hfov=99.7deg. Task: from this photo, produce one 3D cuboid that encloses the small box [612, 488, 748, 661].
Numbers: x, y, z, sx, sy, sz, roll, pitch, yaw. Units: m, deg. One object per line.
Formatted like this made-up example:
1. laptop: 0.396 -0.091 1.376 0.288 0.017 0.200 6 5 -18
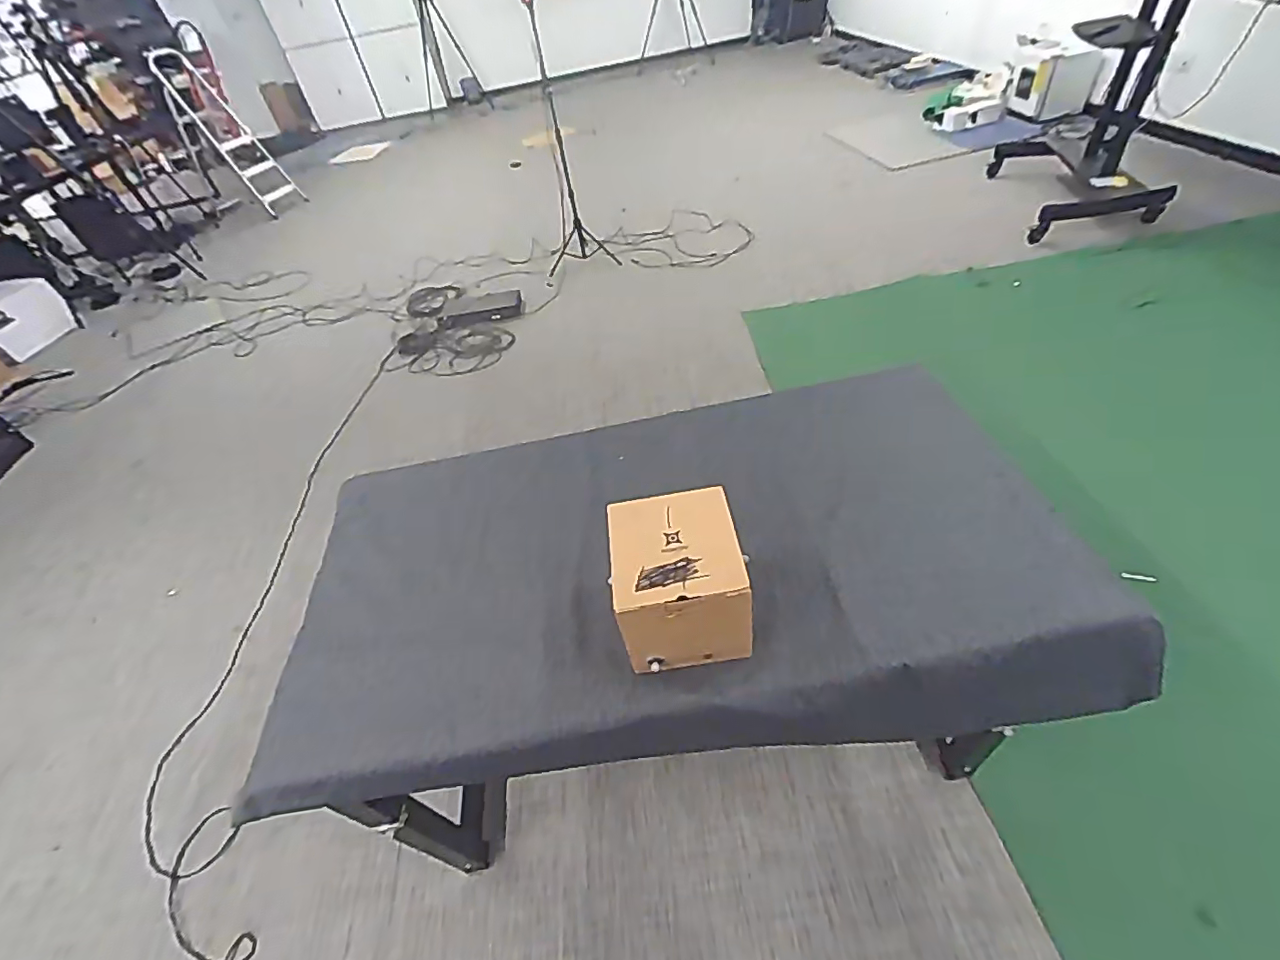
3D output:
1. small box: 0.056 0.139 0.762 0.168 0.176 0.179 -8 44 2
